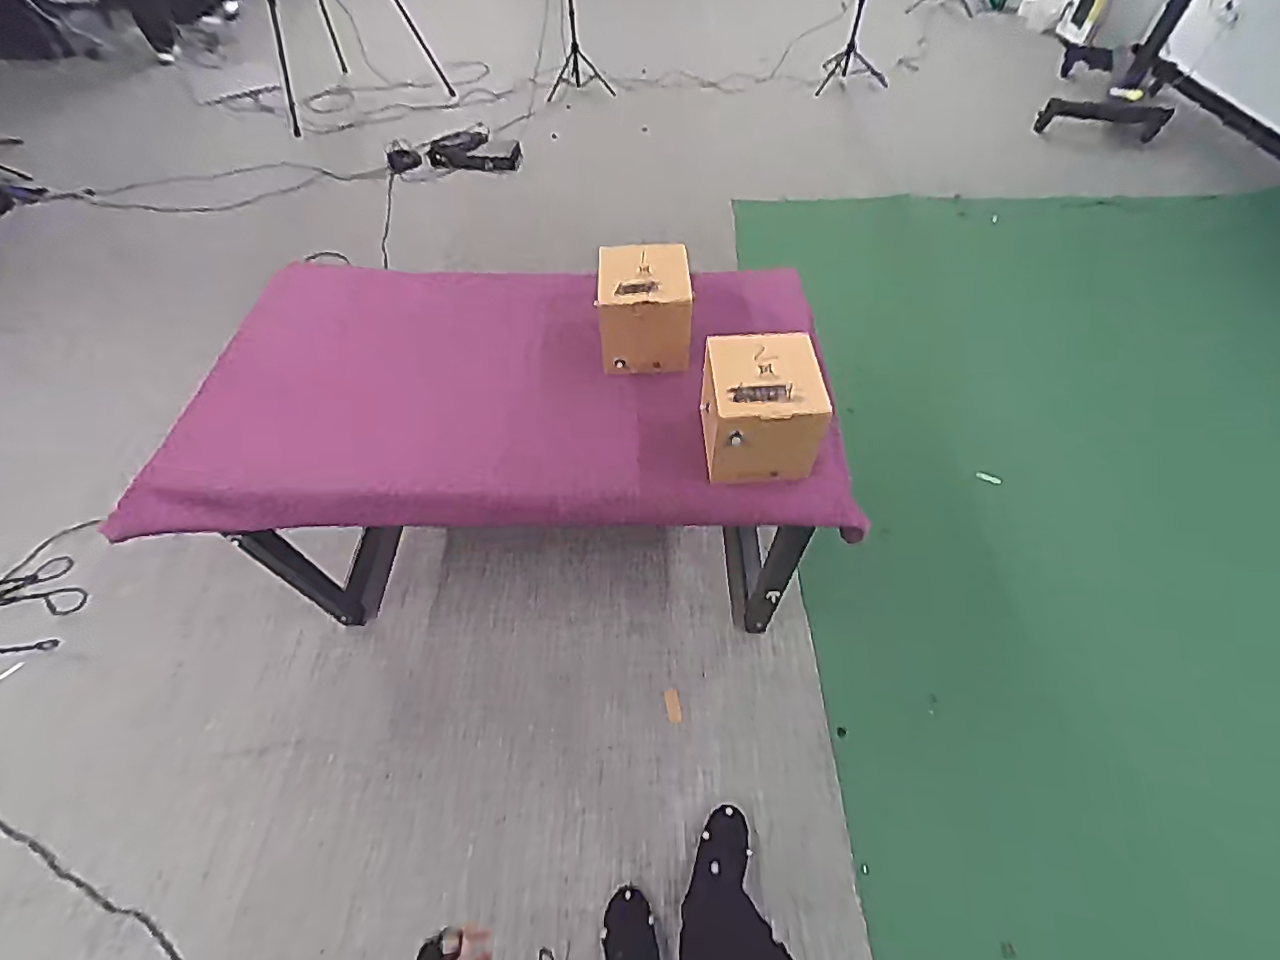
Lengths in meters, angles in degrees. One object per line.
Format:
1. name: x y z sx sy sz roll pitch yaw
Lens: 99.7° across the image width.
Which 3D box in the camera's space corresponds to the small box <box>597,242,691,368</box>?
1. small box: 0.010 -0.330 1.039 0.168 0.176 0.179 -1 55 0
